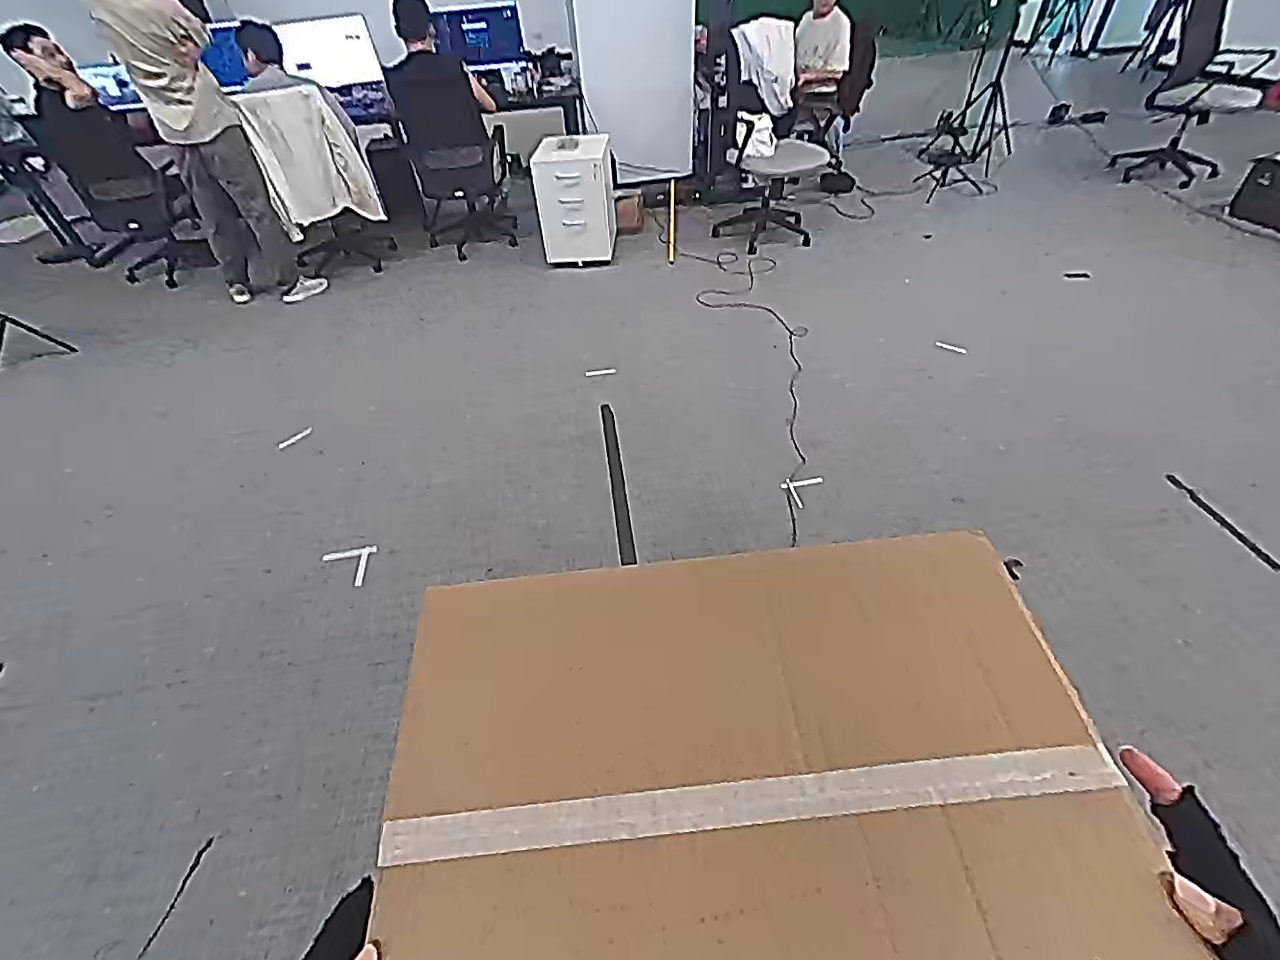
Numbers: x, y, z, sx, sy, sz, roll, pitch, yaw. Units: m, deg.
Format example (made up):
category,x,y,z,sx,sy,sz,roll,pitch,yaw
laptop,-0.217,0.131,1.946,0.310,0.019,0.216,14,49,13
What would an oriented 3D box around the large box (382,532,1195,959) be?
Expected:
category,x,y,z,sx,sy,sz,roll,pitch,yaw
large box,0.068,0.273,0.428,0.408,0.320,0.320,-6,53,0
